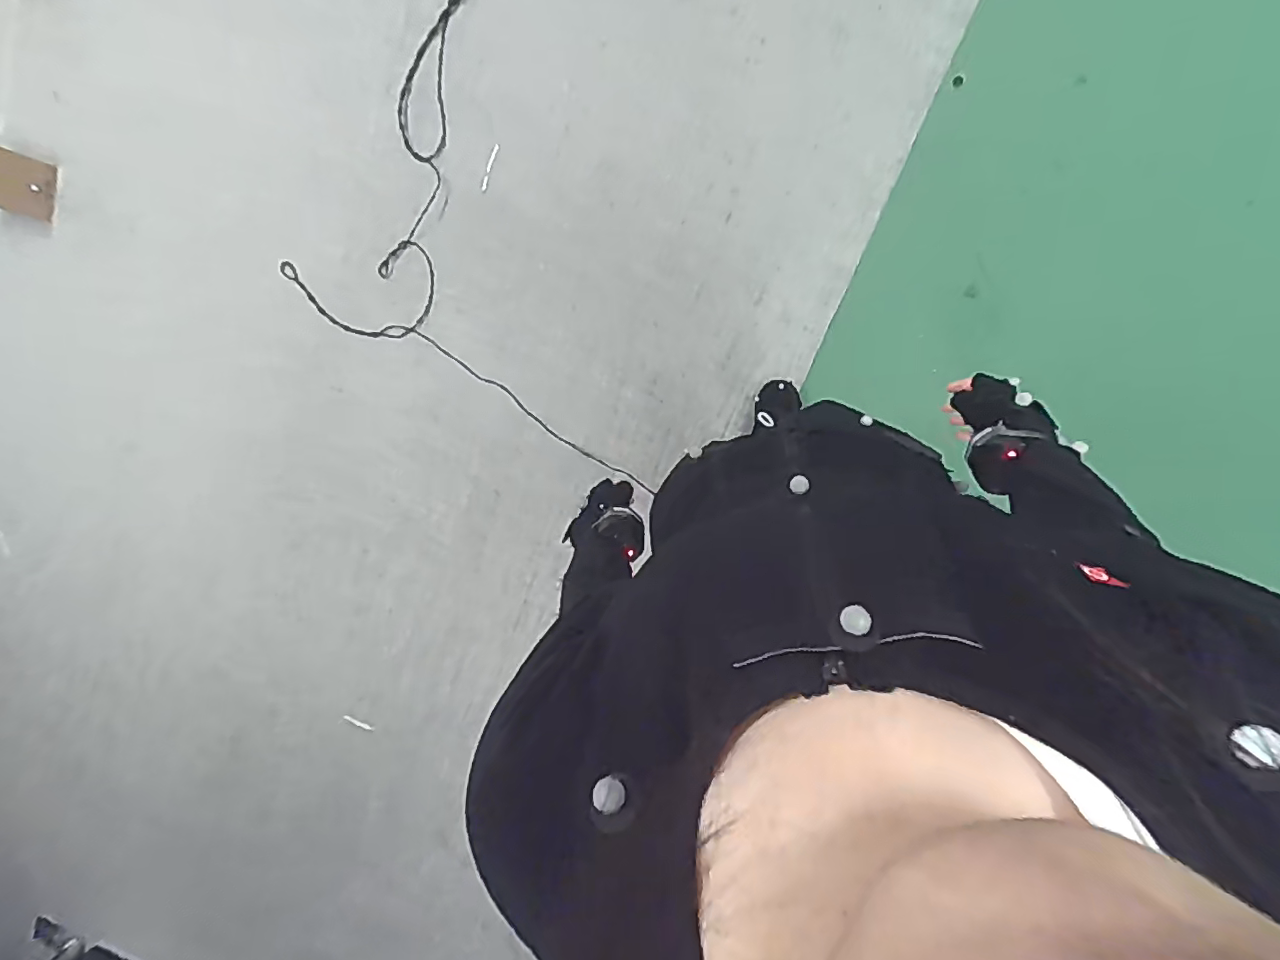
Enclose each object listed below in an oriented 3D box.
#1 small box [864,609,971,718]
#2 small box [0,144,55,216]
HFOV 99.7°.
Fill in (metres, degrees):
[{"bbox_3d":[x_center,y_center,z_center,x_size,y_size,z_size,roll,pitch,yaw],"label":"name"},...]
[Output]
[{"bbox_3d":[0.703,0.467,1.398,0.168,0.176,0.179,24,101,4],"label":"small box"},{"bbox_3d":[-1.868,-0.887,1.559,0.179,0.176,0.168,21,102,4],"label":"small box"}]
